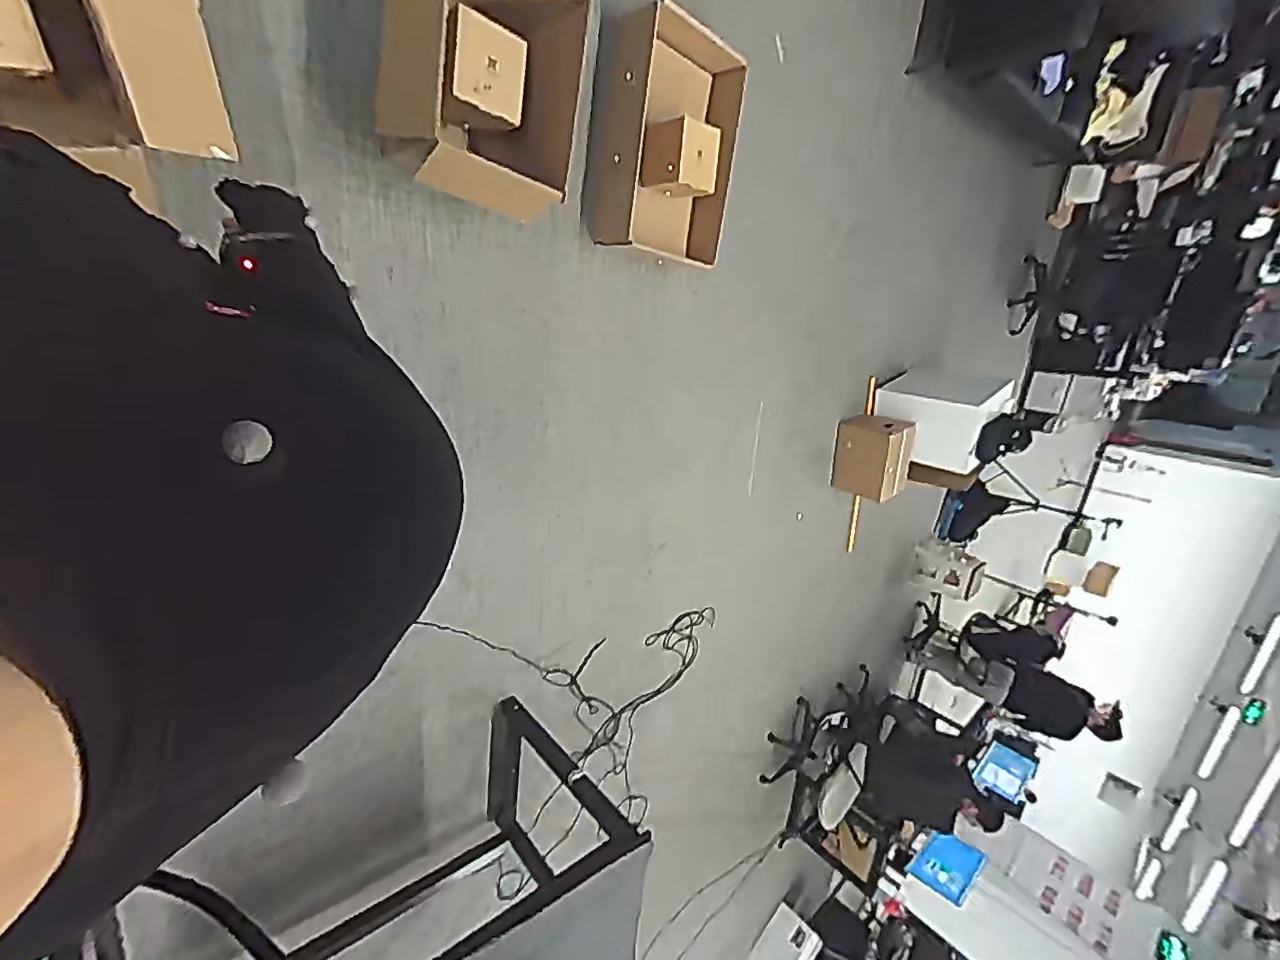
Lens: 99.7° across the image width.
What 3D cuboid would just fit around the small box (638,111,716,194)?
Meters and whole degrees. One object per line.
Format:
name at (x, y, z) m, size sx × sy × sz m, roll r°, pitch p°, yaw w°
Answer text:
small box at (0.111, -1.000, 1.668) m, size 0.168 × 0.176 × 0.179 m, roll -12°, pitch 115°, yaw -42°
